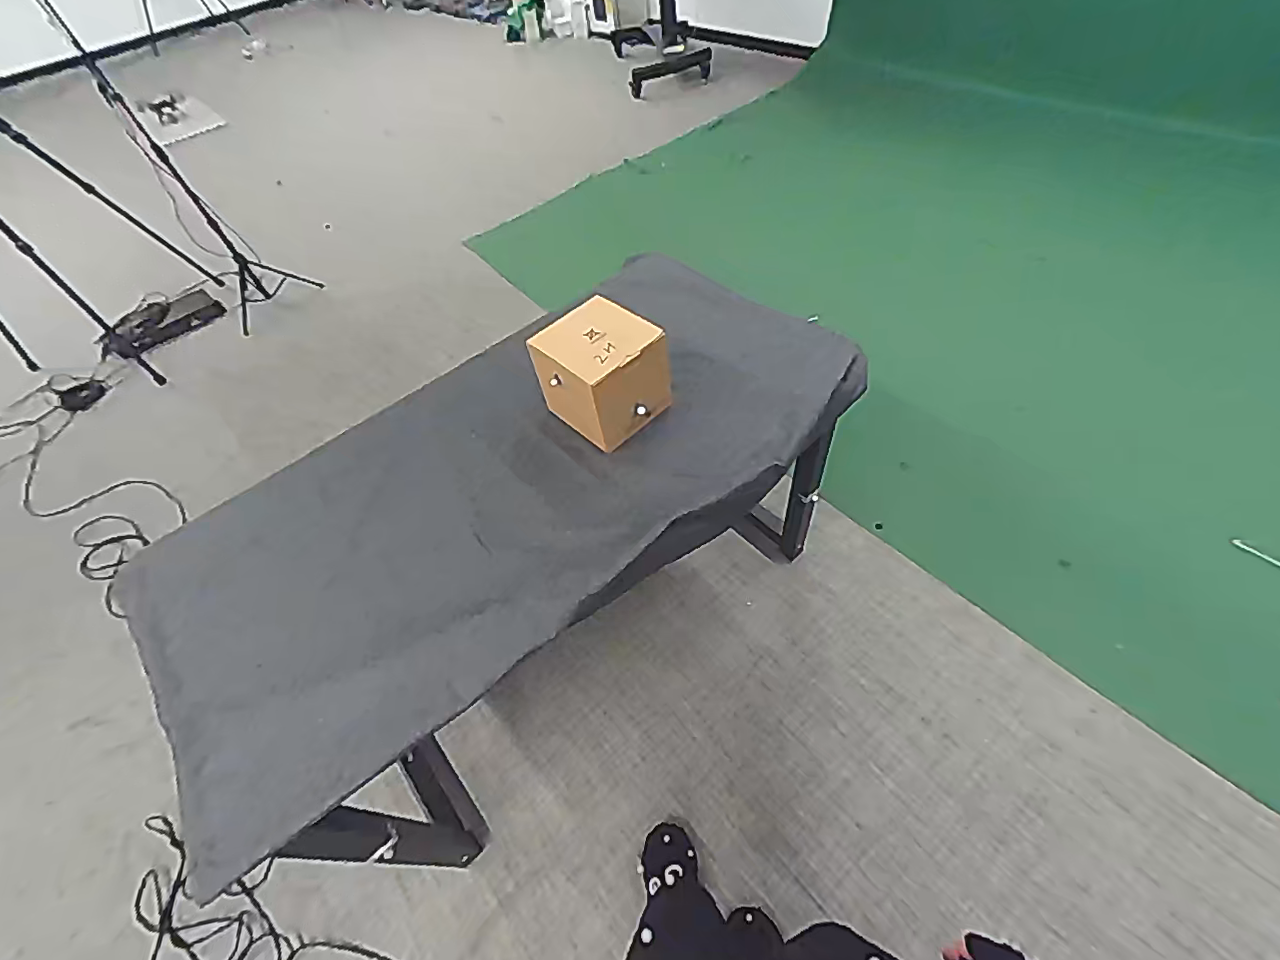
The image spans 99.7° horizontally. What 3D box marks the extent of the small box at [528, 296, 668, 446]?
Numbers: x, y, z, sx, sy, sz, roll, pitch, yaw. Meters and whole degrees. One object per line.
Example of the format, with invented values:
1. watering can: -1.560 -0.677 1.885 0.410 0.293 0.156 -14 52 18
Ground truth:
1. small box: -0.068 -0.191 0.962 0.168 0.176 0.179 -40 58 -21
